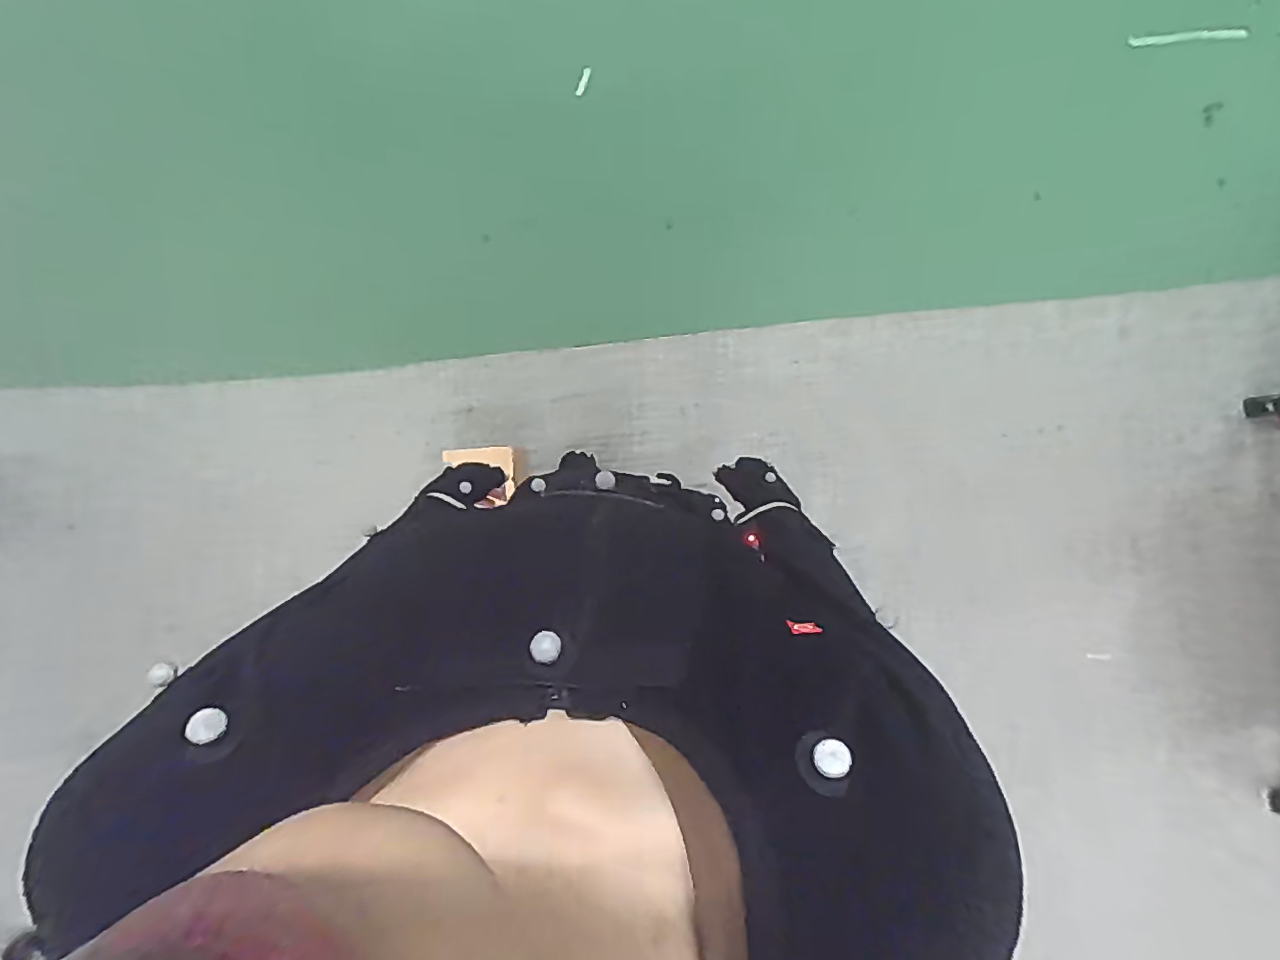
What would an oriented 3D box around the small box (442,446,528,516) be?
[{"bbox_3d":[-0.390,-0.001,1.393,0.179,0.176,0.168,-4,92,0],"label":"small box"}]
